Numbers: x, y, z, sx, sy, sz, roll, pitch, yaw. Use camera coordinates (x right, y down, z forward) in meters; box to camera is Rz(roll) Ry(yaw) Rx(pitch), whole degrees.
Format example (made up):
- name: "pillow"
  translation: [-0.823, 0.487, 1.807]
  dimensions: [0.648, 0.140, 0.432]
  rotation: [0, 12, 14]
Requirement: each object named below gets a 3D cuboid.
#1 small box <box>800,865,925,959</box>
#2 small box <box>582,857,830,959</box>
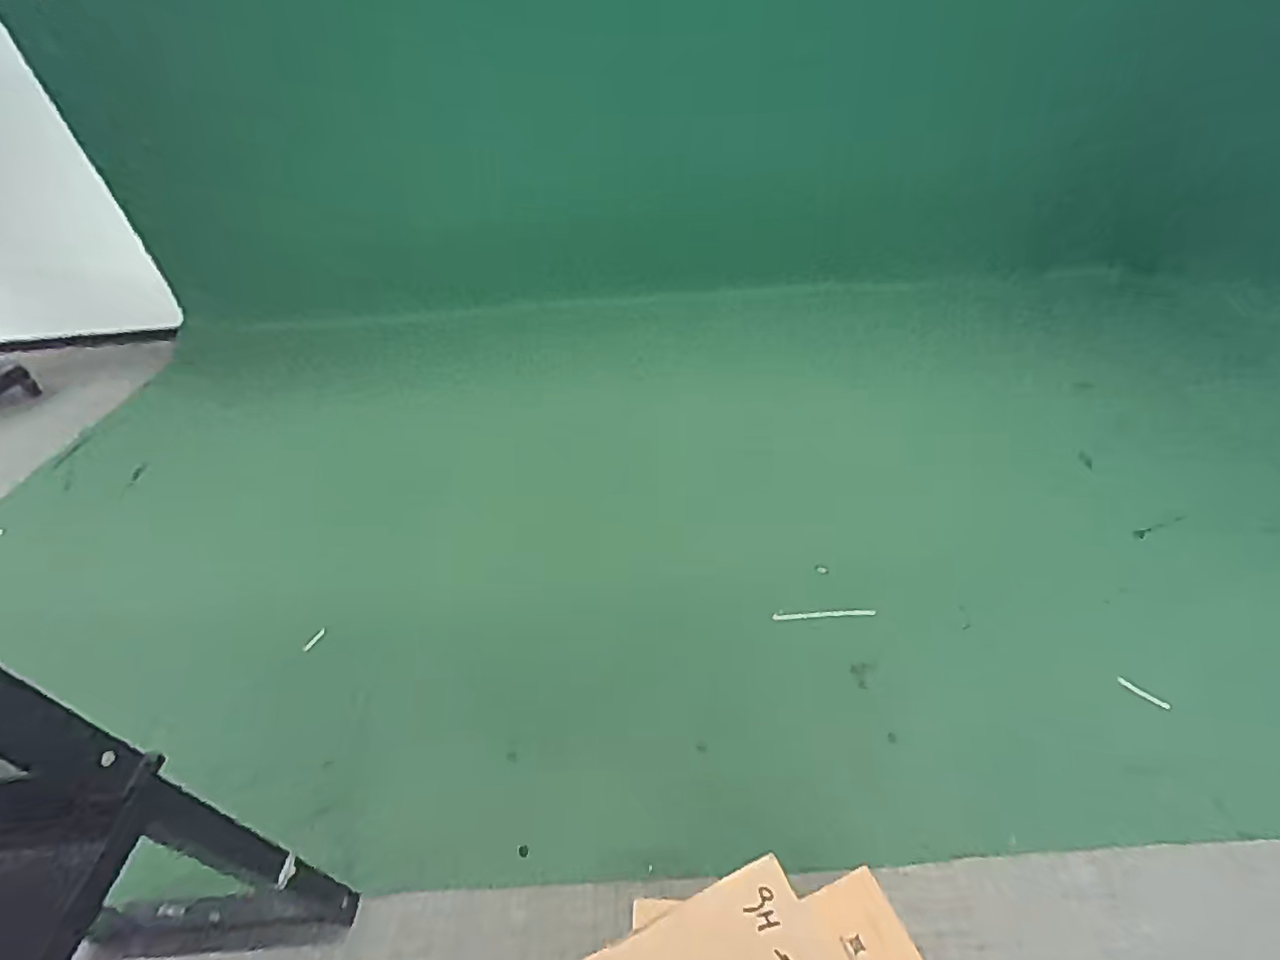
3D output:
- name: "small box"
  translation: [0.344, 0.789, 0.900]
  dimensions: [0.179, 0.176, 0.168]
  rotation: [-17, 45, -14]
- name: "small box"
  translation: [0.066, 0.411, 0.370]
  dimensions: [0.179, 0.176, 0.168]
  rotation: [-22, 39, -9]
